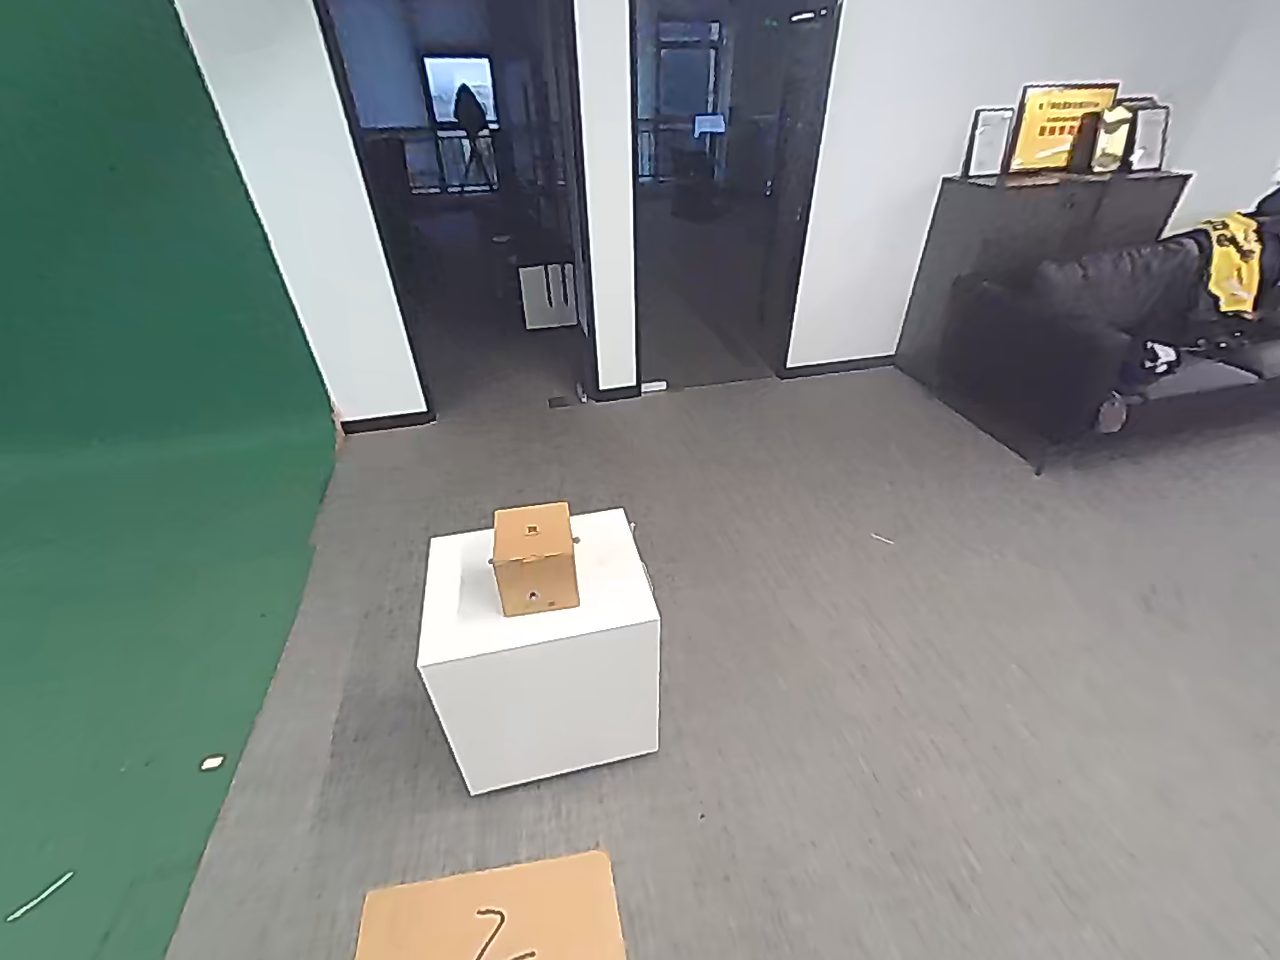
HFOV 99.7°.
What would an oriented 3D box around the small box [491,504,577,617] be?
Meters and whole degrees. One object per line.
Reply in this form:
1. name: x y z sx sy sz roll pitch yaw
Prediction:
1. small box: -0.234 0.178 1.208 0.168 0.176 0.179 -7 36 -9
